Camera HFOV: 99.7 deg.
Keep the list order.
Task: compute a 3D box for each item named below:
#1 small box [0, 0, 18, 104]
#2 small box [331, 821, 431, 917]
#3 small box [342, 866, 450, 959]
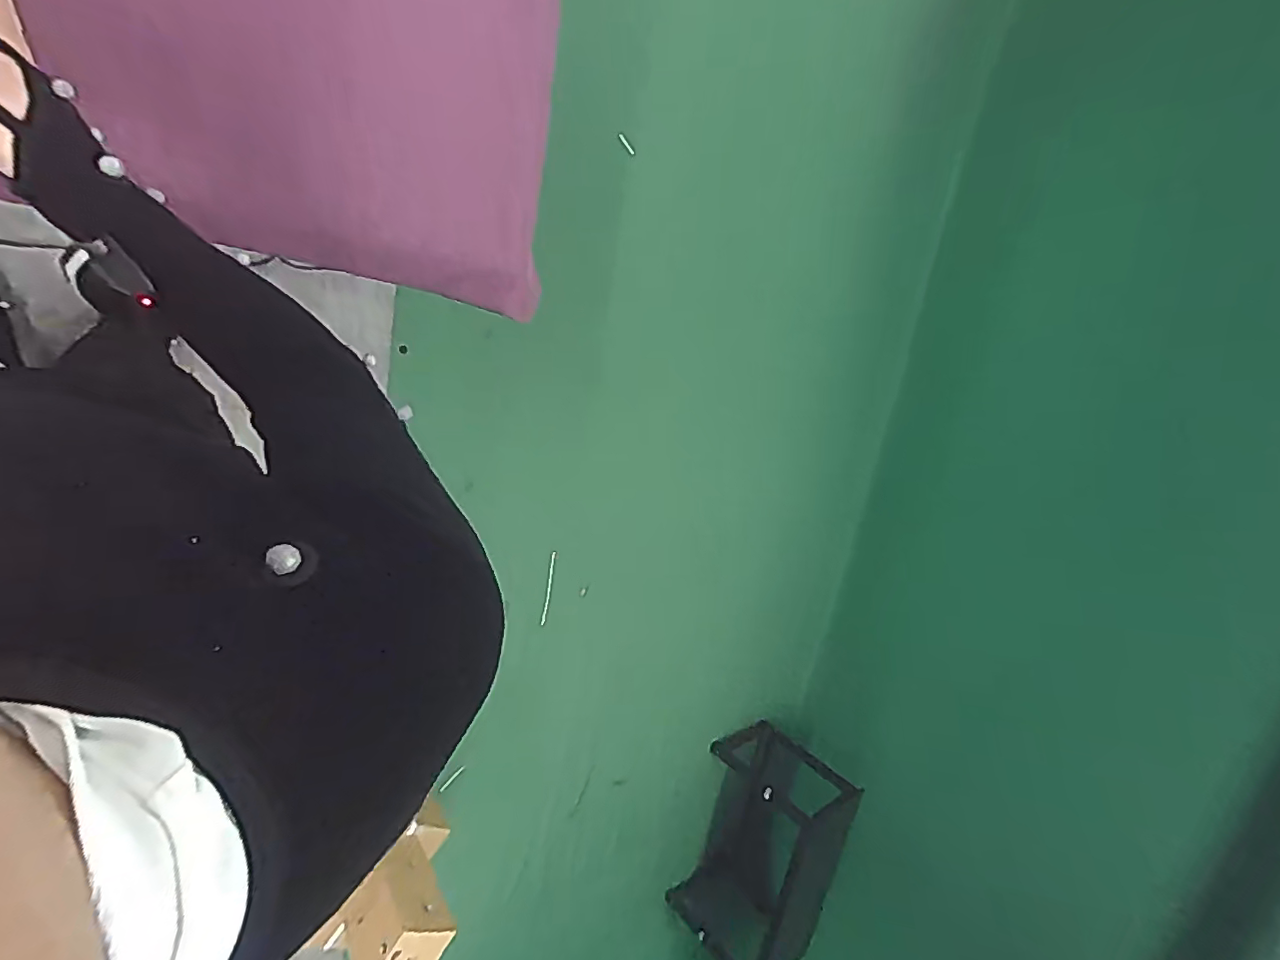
[{"bbox_3d":[-0.615,-0.430,0.413,0.168,0.176,0.179,-4,109,-43],"label":"small box"},{"bbox_3d":[-0.749,1.123,1.559,0.168,0.176,0.179,-54,133,-11],"label":"small box"},{"bbox_3d":[-0.650,1.167,1.436,0.168,0.176,0.179,-54,134,-10],"label":"small box"}]
